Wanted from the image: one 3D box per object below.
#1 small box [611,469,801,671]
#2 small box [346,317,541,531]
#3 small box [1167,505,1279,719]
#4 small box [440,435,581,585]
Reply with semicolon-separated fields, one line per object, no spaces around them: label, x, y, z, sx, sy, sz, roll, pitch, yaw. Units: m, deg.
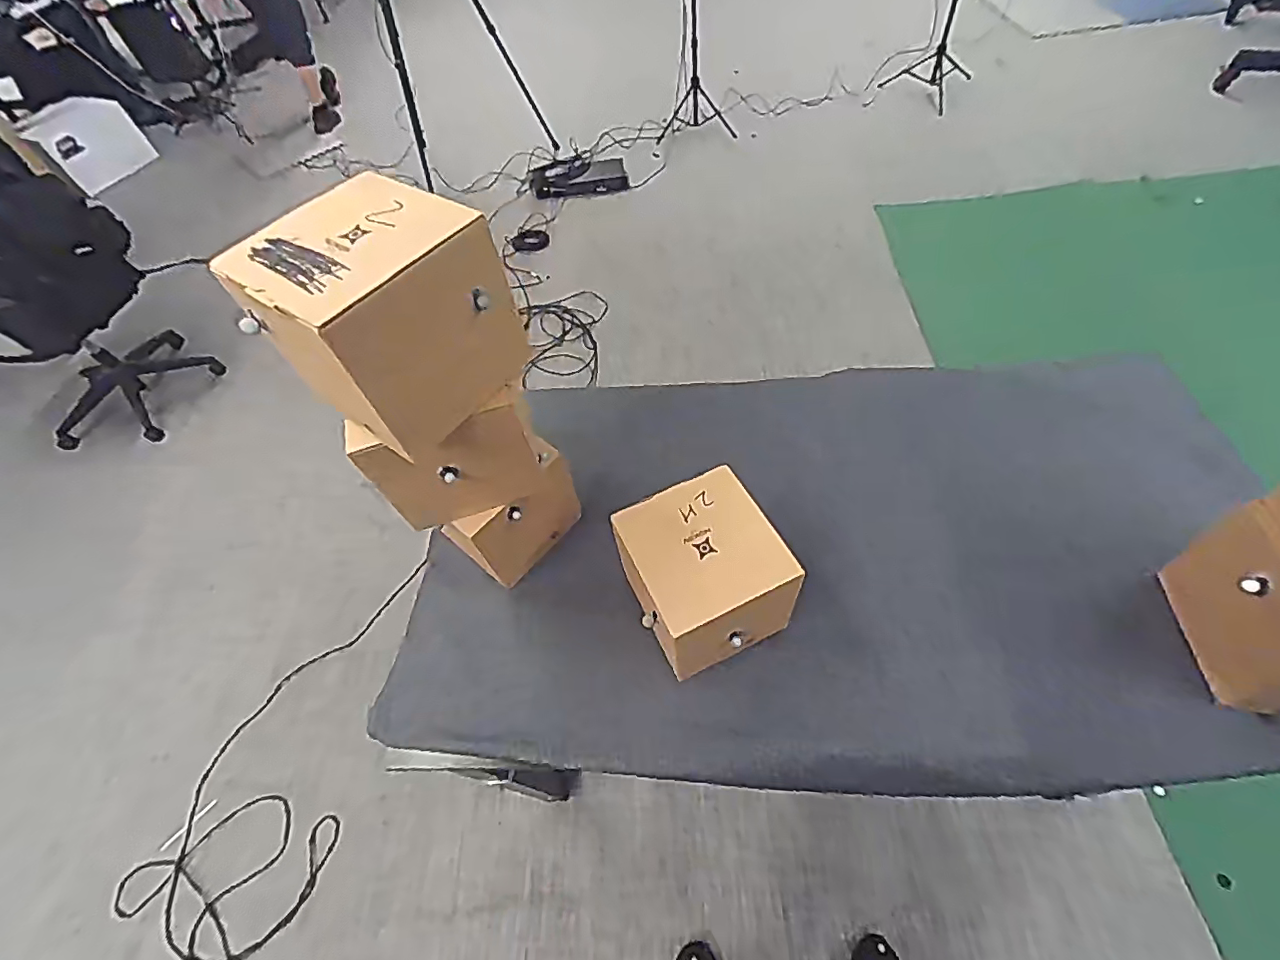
small box;0.081;0.124;0.693;0.168;0.176;0.179;-24;55;-10
small box;-0.231;-0.064;0.666;0.179;0.176;0.168;-19;56;-5
small box;0.734;0.148;0.579;0.168;0.176;0.179;3;53;12
small box;-0.213;0.026;0.803;0.179;0.176;0.168;33;66;26
